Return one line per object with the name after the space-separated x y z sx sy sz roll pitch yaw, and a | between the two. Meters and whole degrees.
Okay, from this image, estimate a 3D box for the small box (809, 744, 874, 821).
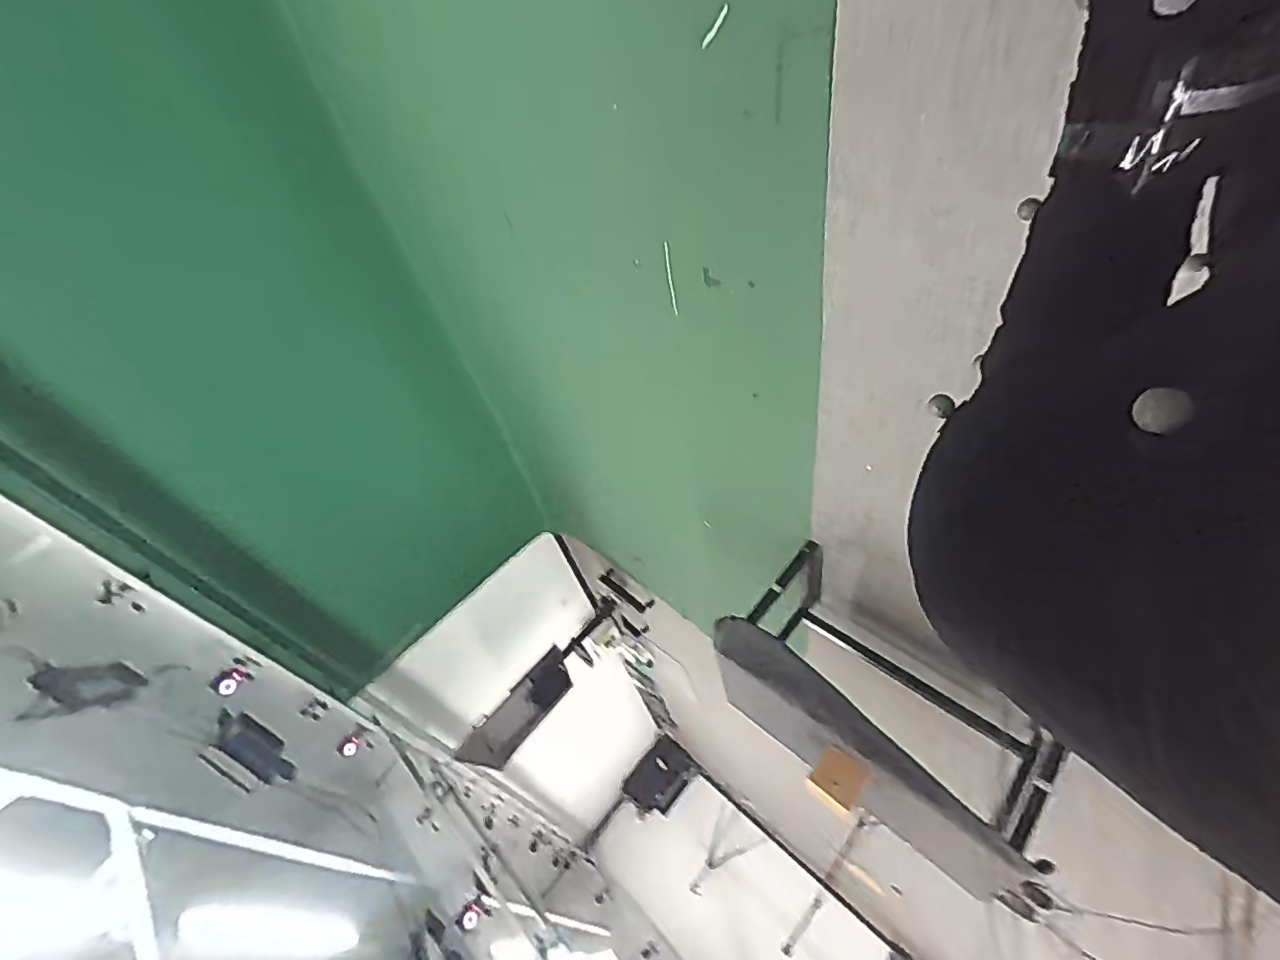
0.771 1.153 2.068 0.179 0.176 0.168 31 151 36 | small box
